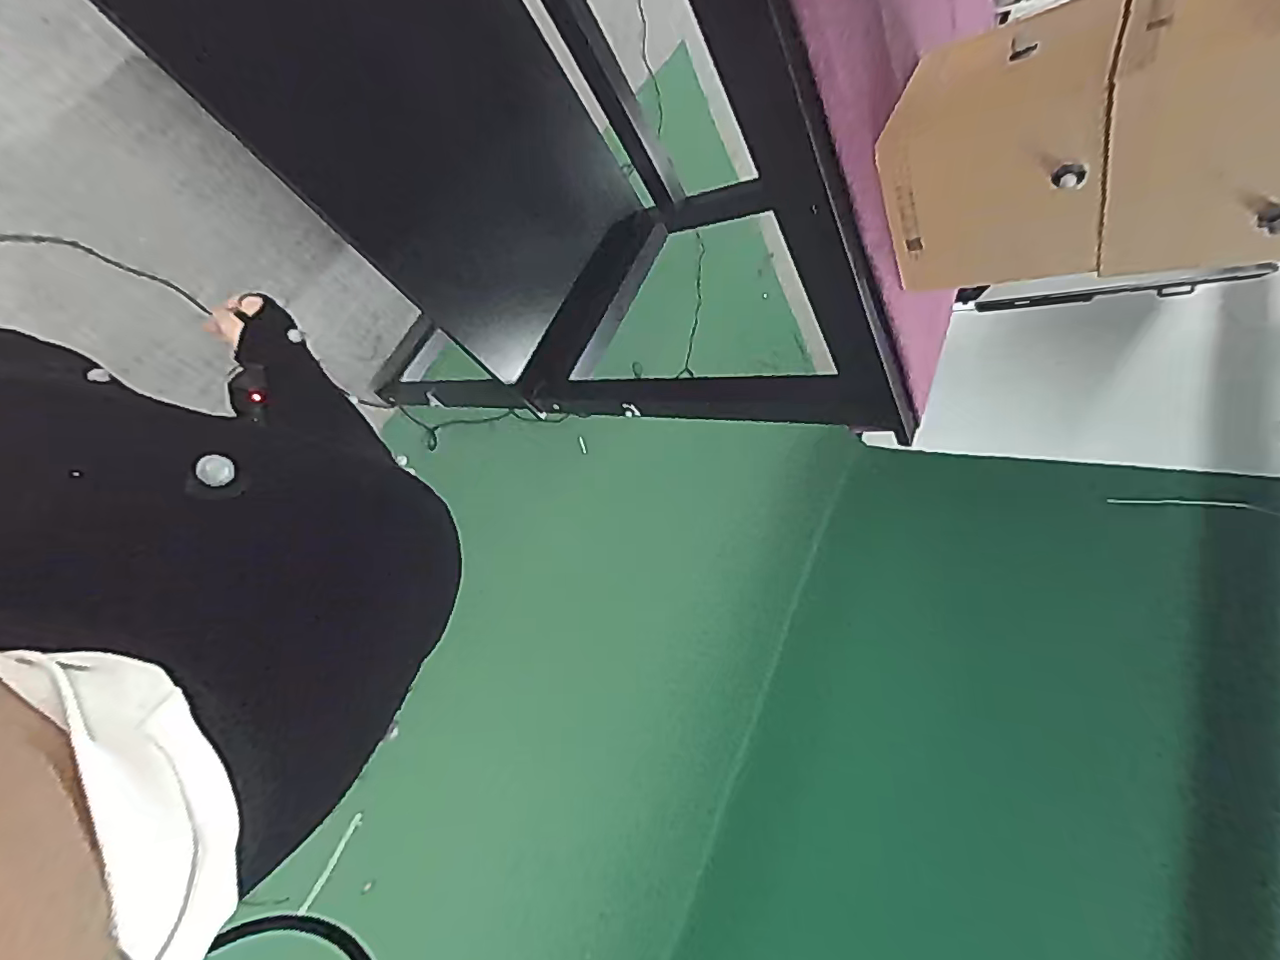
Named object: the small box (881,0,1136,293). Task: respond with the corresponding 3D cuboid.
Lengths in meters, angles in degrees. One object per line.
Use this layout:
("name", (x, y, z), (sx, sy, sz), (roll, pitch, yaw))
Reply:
("small box", (0.350, -0.308, 0.520), (0.168, 0.176, 0.179), (49, 60, -40))
